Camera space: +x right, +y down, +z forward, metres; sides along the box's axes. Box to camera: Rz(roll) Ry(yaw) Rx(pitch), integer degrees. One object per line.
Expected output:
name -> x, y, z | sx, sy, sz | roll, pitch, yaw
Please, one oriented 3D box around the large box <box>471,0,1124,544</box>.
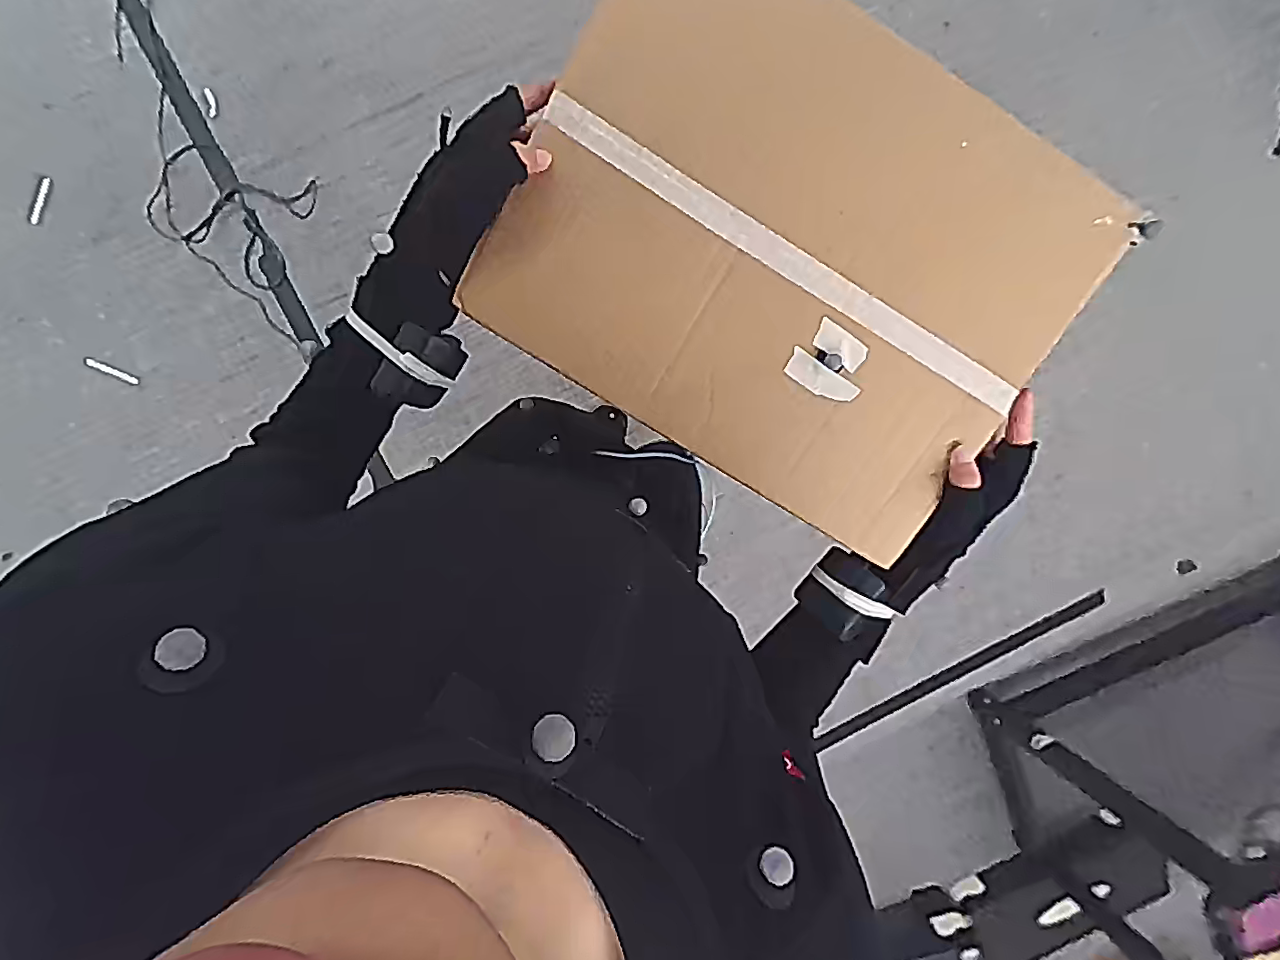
large box -> 0.114, -0.200, 0.554 | 0.408, 0.320, 0.320 | 31, 102, -6
